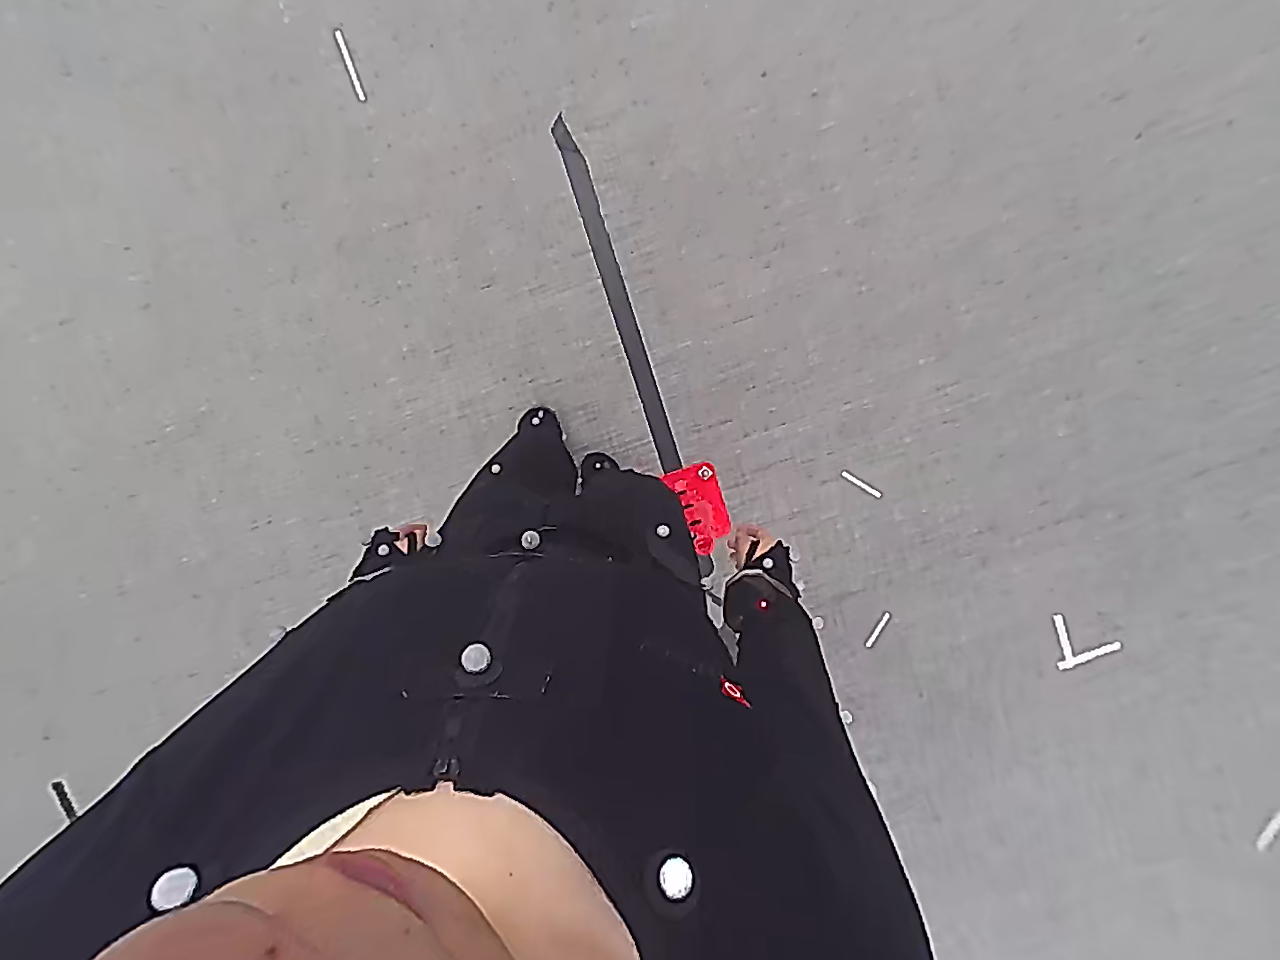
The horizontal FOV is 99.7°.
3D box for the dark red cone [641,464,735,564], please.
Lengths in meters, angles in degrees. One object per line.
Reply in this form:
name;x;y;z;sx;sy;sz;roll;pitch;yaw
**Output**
dark red cone;0.120;0.102;1.181;0.201;0.394;0.202;-19;99;3
